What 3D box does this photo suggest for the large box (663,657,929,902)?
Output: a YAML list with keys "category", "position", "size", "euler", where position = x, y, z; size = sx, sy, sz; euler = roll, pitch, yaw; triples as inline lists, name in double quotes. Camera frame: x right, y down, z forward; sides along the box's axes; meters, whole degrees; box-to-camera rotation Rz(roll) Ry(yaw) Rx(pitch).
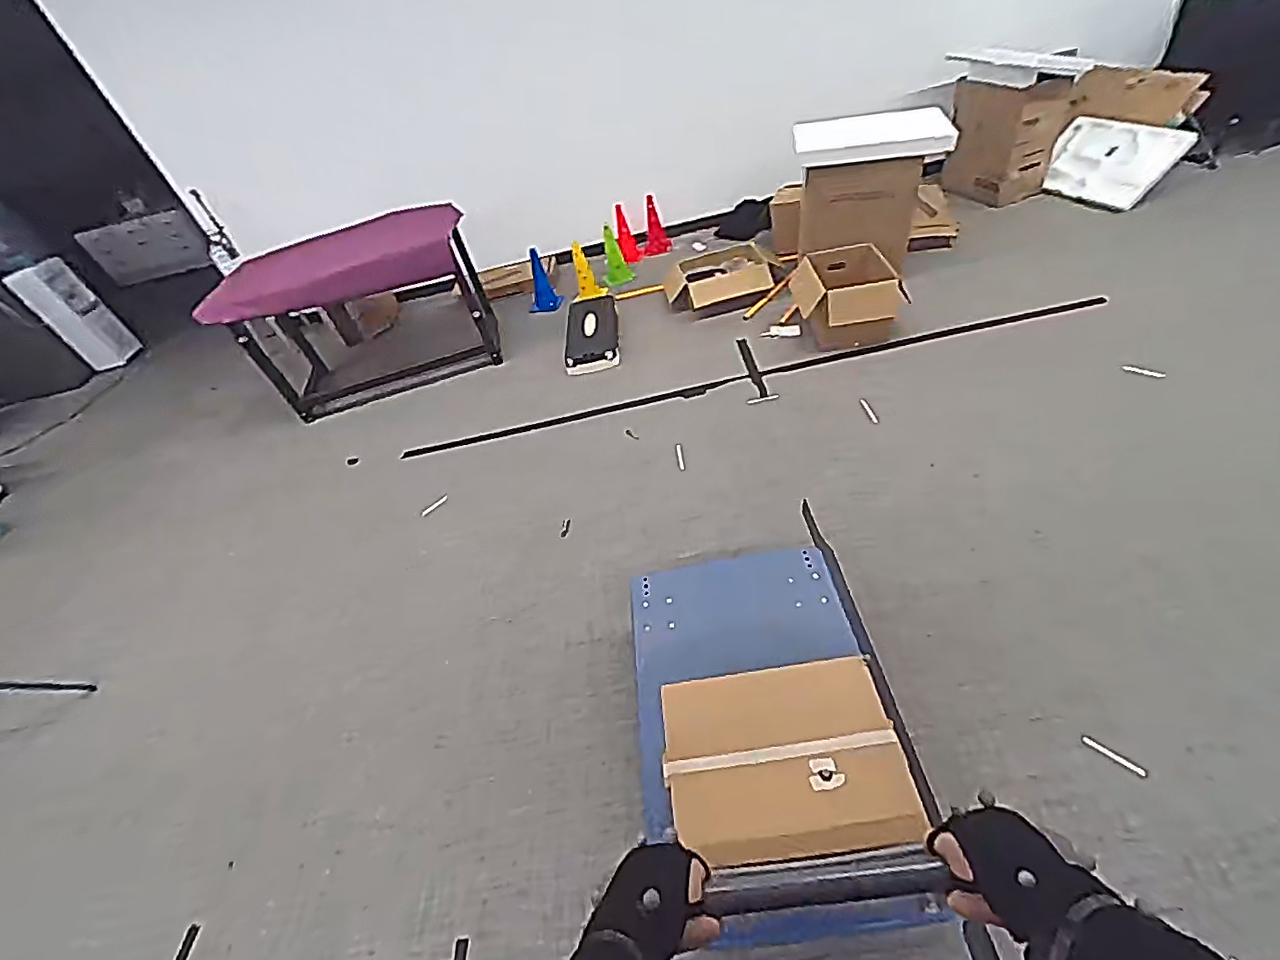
- category: "large box"
  position: [0.279, 0.598, 1.075]
  size: [0.408, 0.320, 0.320]
  euler: [-10, 45, 4]
